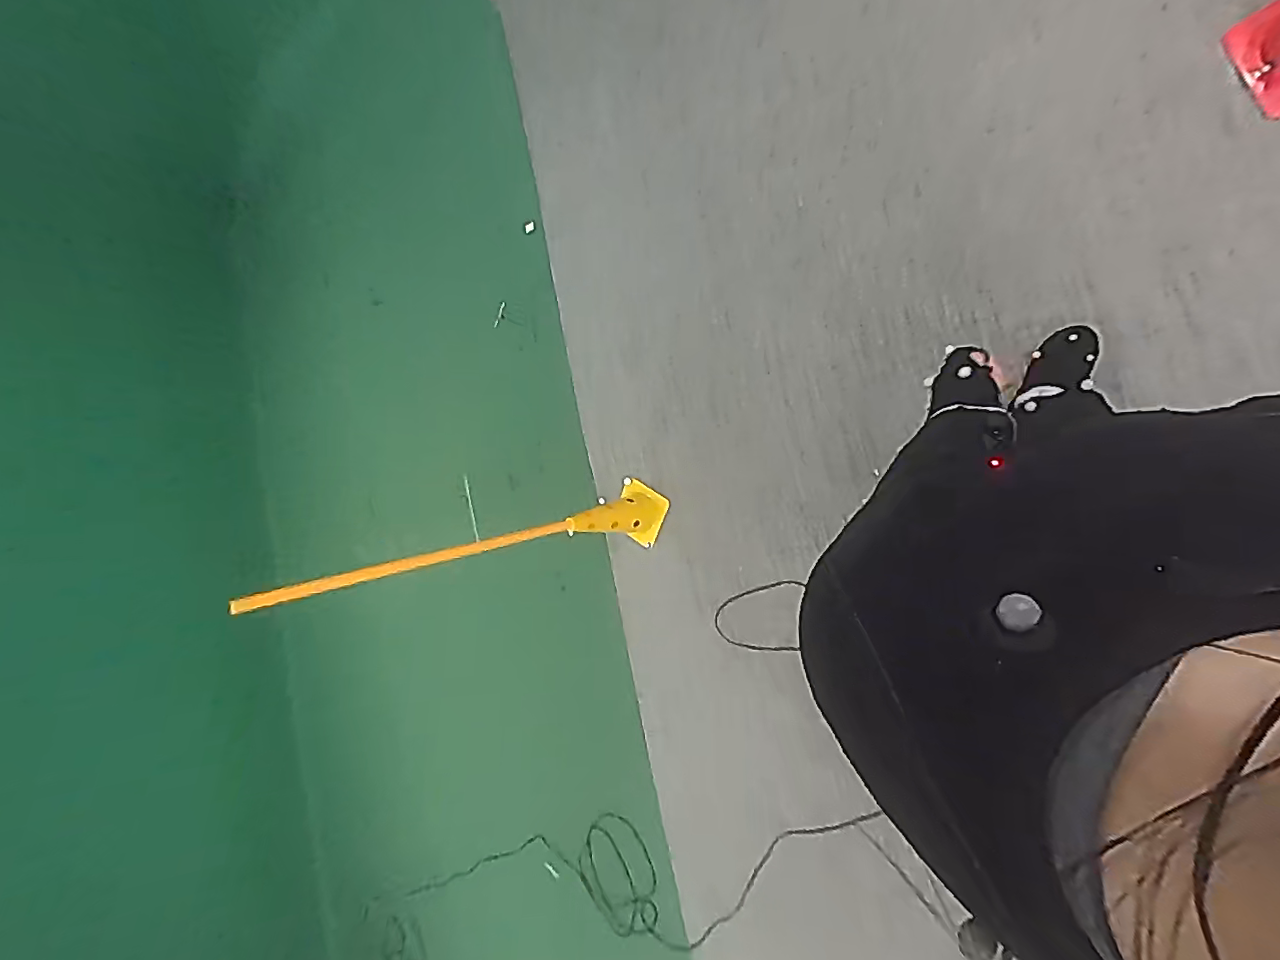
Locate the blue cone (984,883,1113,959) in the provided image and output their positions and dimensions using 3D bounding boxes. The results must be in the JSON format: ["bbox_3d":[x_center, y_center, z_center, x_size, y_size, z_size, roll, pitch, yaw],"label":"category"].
[{"bbox_3d":[0.846,1.058,1.111,0.193,0.380,0.192,40,115,25],"label":"blue cone"}]
